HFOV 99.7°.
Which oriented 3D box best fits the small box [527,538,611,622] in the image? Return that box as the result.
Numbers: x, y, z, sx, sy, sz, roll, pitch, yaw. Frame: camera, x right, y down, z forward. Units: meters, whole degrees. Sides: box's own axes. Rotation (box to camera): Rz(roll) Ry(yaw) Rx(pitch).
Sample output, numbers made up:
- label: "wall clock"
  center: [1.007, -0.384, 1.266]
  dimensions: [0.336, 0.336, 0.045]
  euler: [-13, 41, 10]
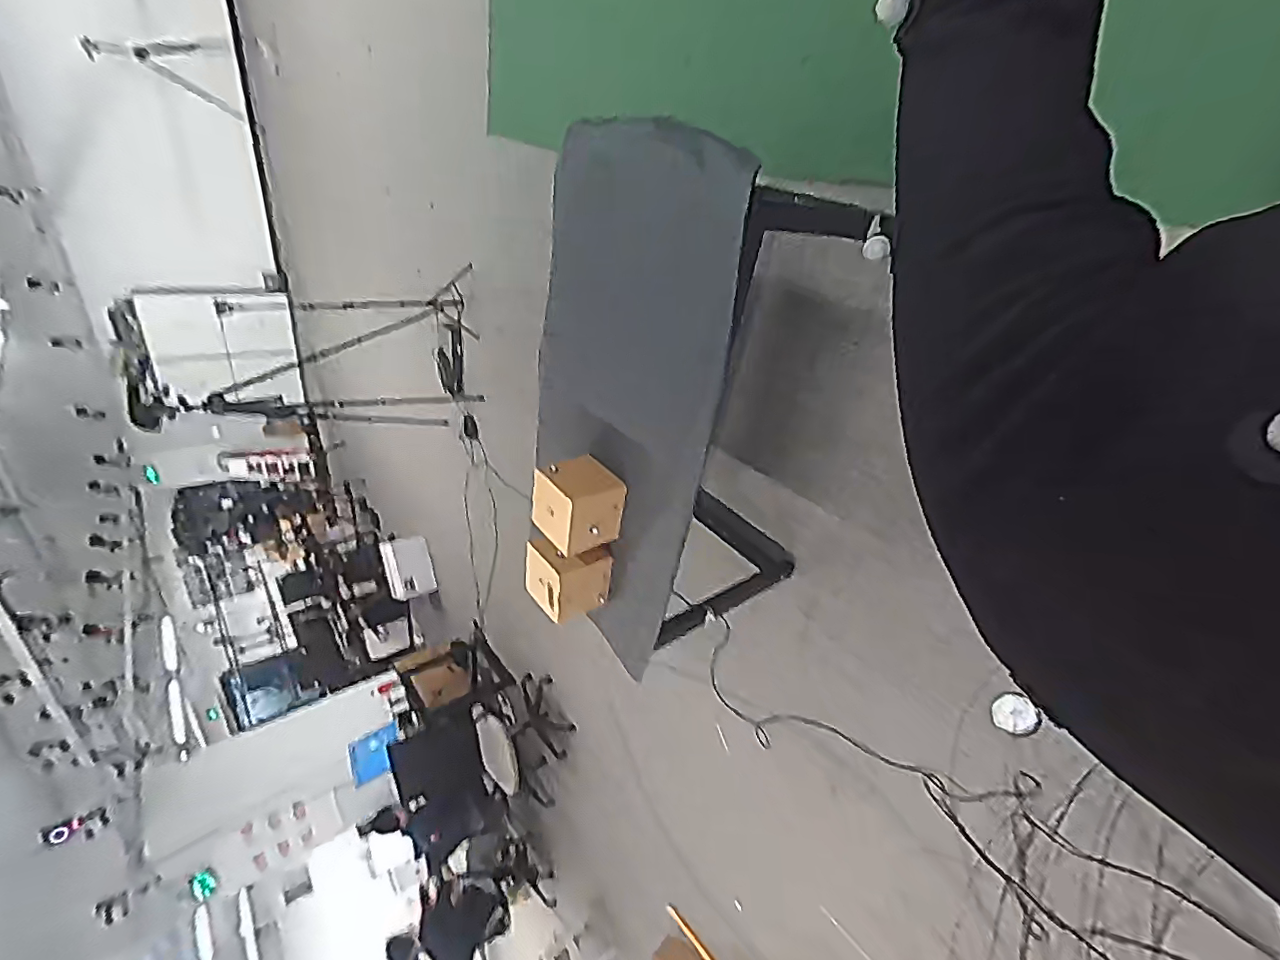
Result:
- label: "small box"
  center: [-0.197, 0.255, 1.503]
  dimensions: [0.179, 0.176, 0.168]
  euler: [35, 128, 41]

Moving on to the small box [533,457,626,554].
- label: "small box"
  center: [-0.155, 0.056, 1.381]
  dimensions: [0.179, 0.176, 0.168]
  euler: [38, 130, 39]
